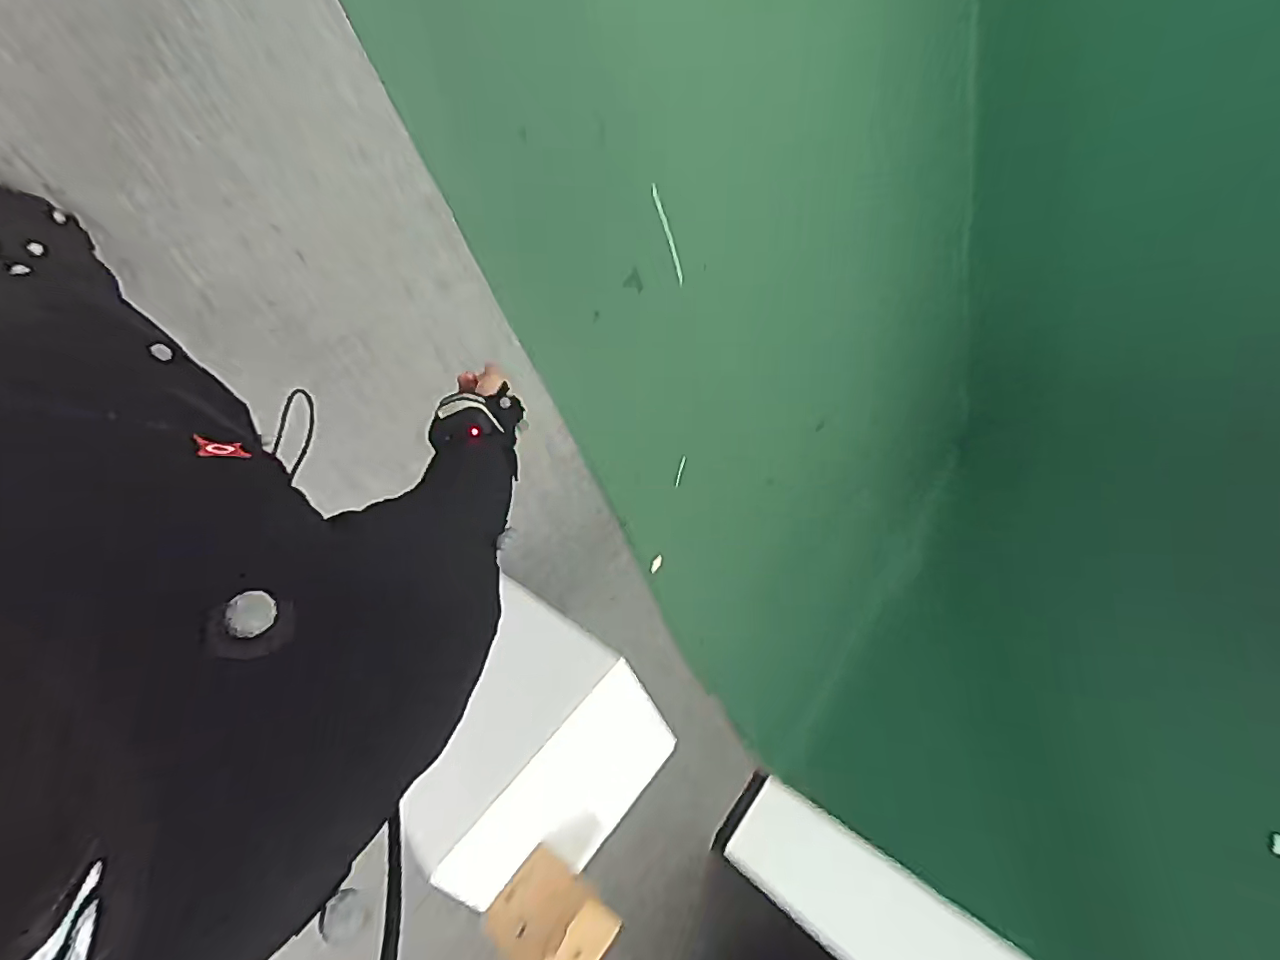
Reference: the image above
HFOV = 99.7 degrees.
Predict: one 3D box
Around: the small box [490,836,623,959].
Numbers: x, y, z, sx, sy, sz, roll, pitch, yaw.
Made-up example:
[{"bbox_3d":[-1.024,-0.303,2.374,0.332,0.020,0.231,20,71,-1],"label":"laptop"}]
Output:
[{"bbox_3d":[-0.170,0.867,1.093,0.168,0.176,0.179,-44,131,-25],"label":"small box"}]
